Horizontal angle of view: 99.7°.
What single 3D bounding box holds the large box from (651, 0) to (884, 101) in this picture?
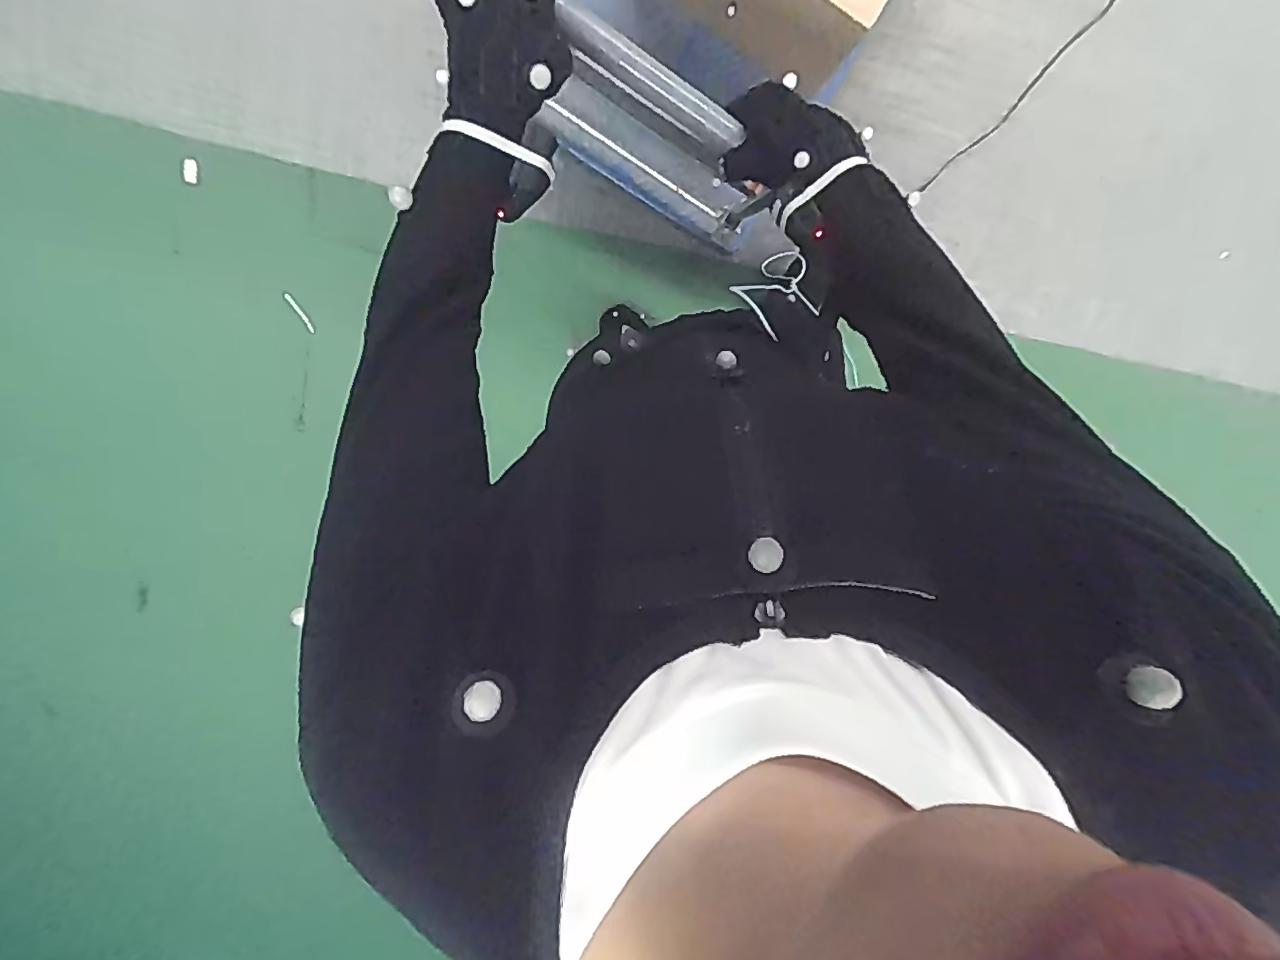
[{"bbox_3d":[0.229,-0.910,0.861,0.408,0.320,0.320,29,106,-8],"label":"large box"}]
